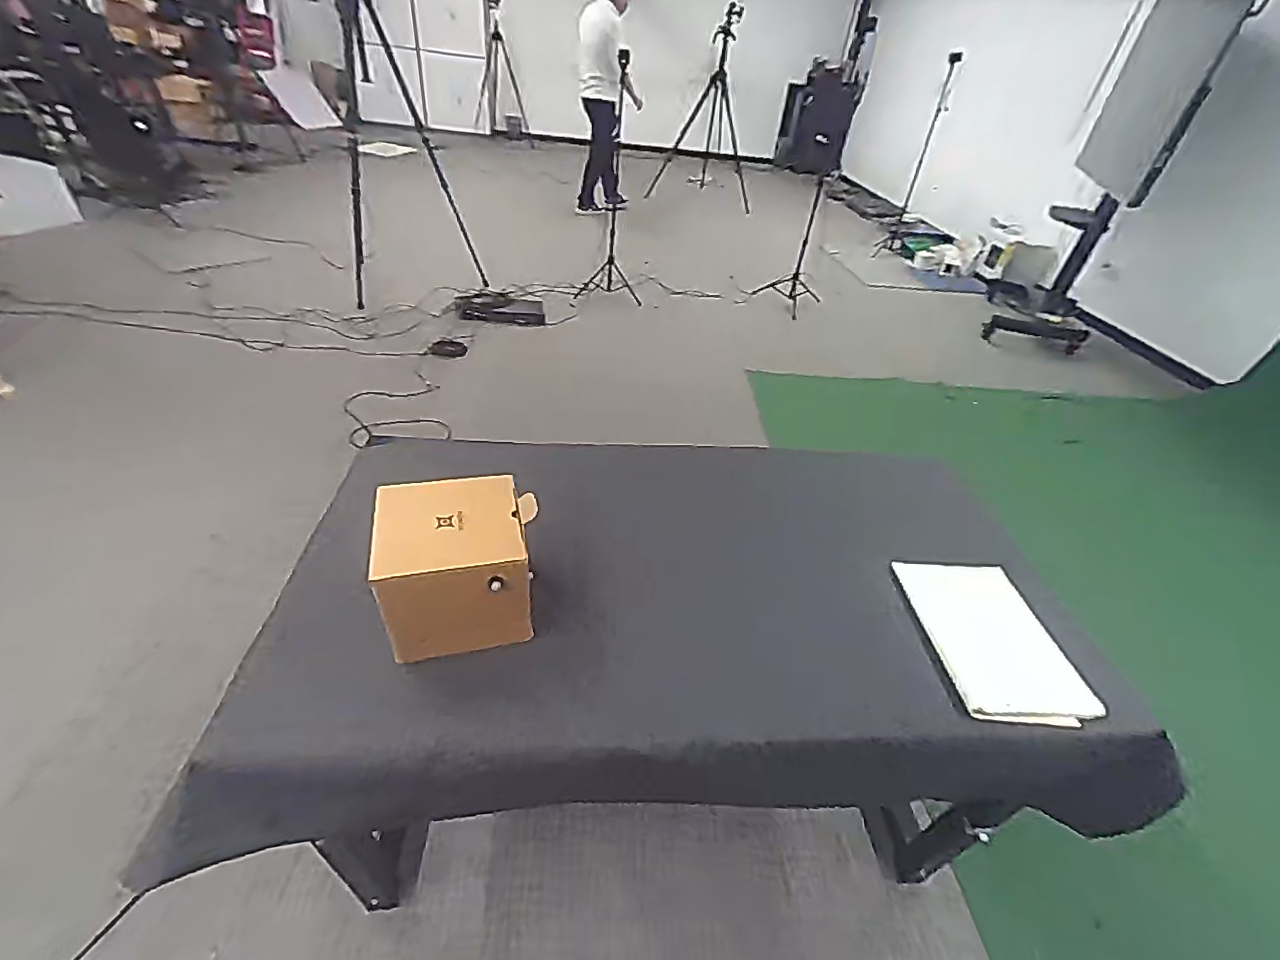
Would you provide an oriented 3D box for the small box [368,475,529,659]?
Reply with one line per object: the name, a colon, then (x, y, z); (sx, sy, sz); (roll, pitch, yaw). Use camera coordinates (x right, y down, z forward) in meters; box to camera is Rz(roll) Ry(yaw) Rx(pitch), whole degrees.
small box: (-0.247, 0.115, 0.723); (0.179, 0.176, 0.168); (-6, 40, -17)
